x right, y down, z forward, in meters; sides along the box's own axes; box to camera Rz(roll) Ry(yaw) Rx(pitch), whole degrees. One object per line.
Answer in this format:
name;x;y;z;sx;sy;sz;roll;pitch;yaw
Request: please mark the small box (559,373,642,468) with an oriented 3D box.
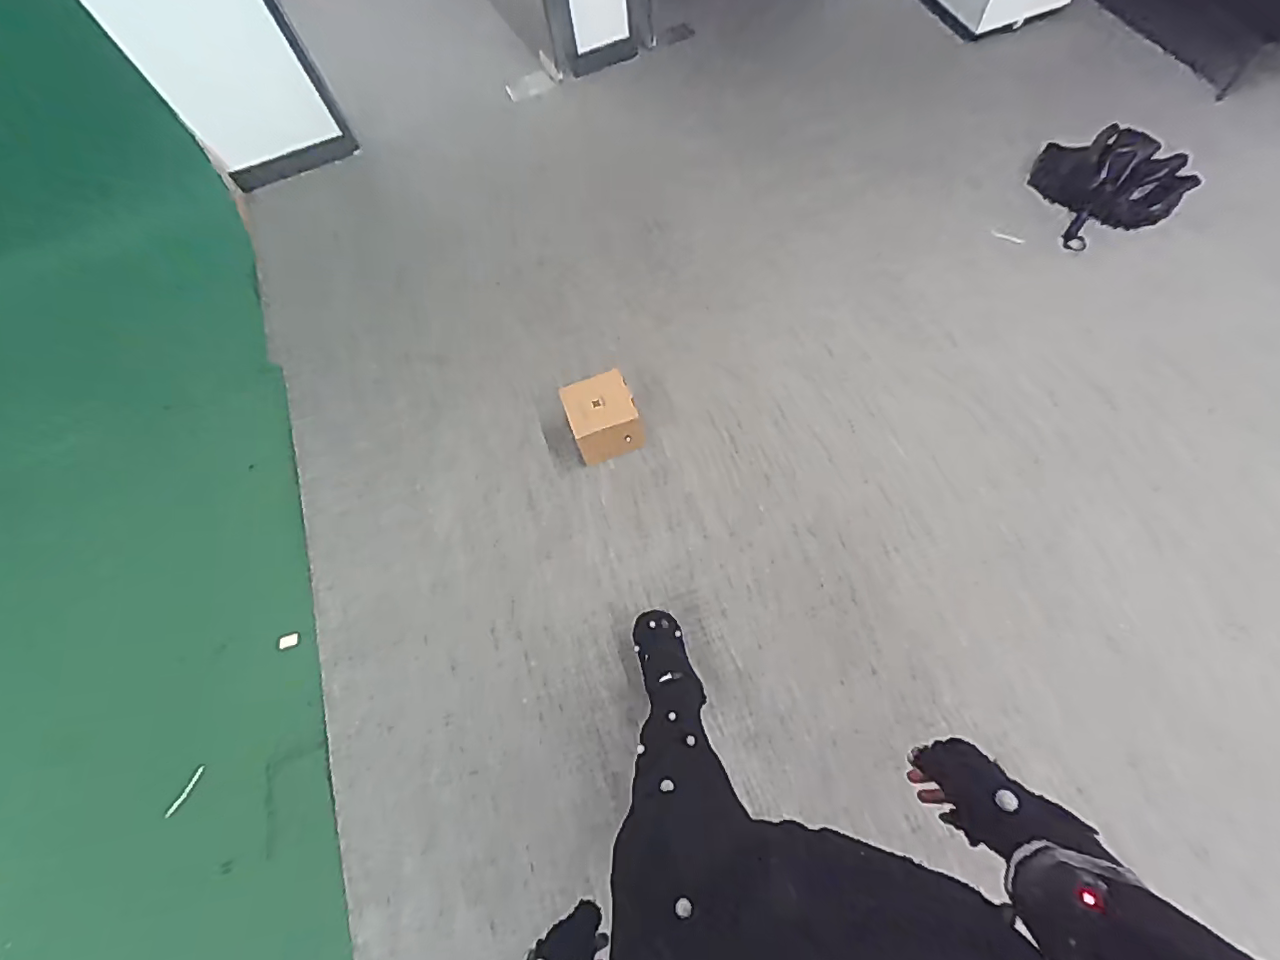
small box;-0.101;-0.158;1.487;0.179;0.176;0.168;-21;65;-2
